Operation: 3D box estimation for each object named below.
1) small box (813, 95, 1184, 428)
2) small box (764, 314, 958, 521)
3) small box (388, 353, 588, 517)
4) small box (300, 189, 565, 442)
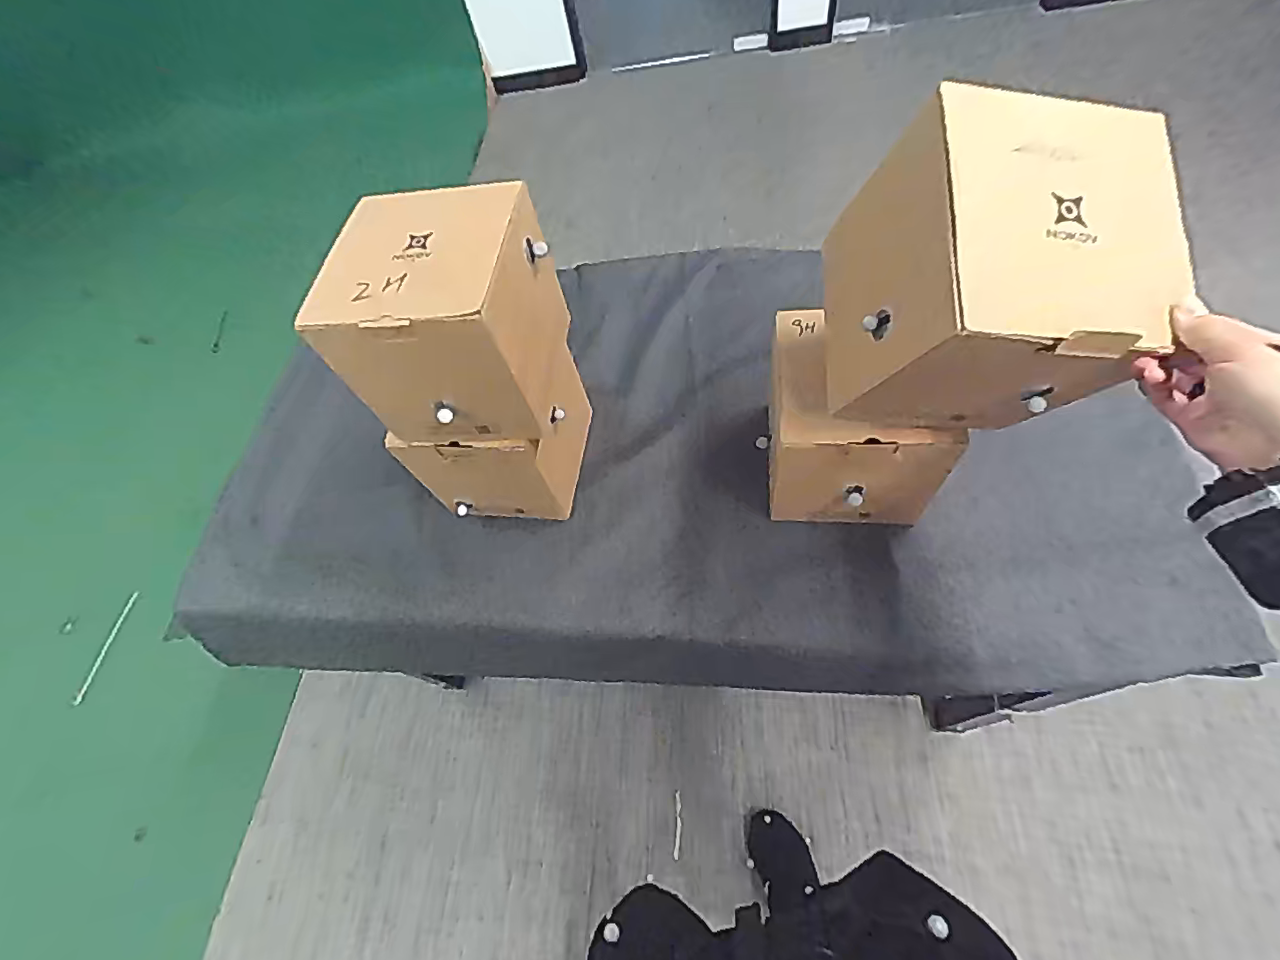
[{"bbox_3d":[0.249,-0.148,0.423,0.168,0.176,0.179,3,77,-7],"label":"small box"},{"bbox_3d":[0.227,-0.064,0.605,0.168,0.176,0.179,1,61,11],"label":"small box"},{"bbox_3d":[-0.172,-0.066,0.679,0.168,0.176,0.179,3,59,11],"label":"small box"},{"bbox_3d":[-0.182,-0.156,0.540,0.168,0.176,0.179,0,60,11],"label":"small box"}]
